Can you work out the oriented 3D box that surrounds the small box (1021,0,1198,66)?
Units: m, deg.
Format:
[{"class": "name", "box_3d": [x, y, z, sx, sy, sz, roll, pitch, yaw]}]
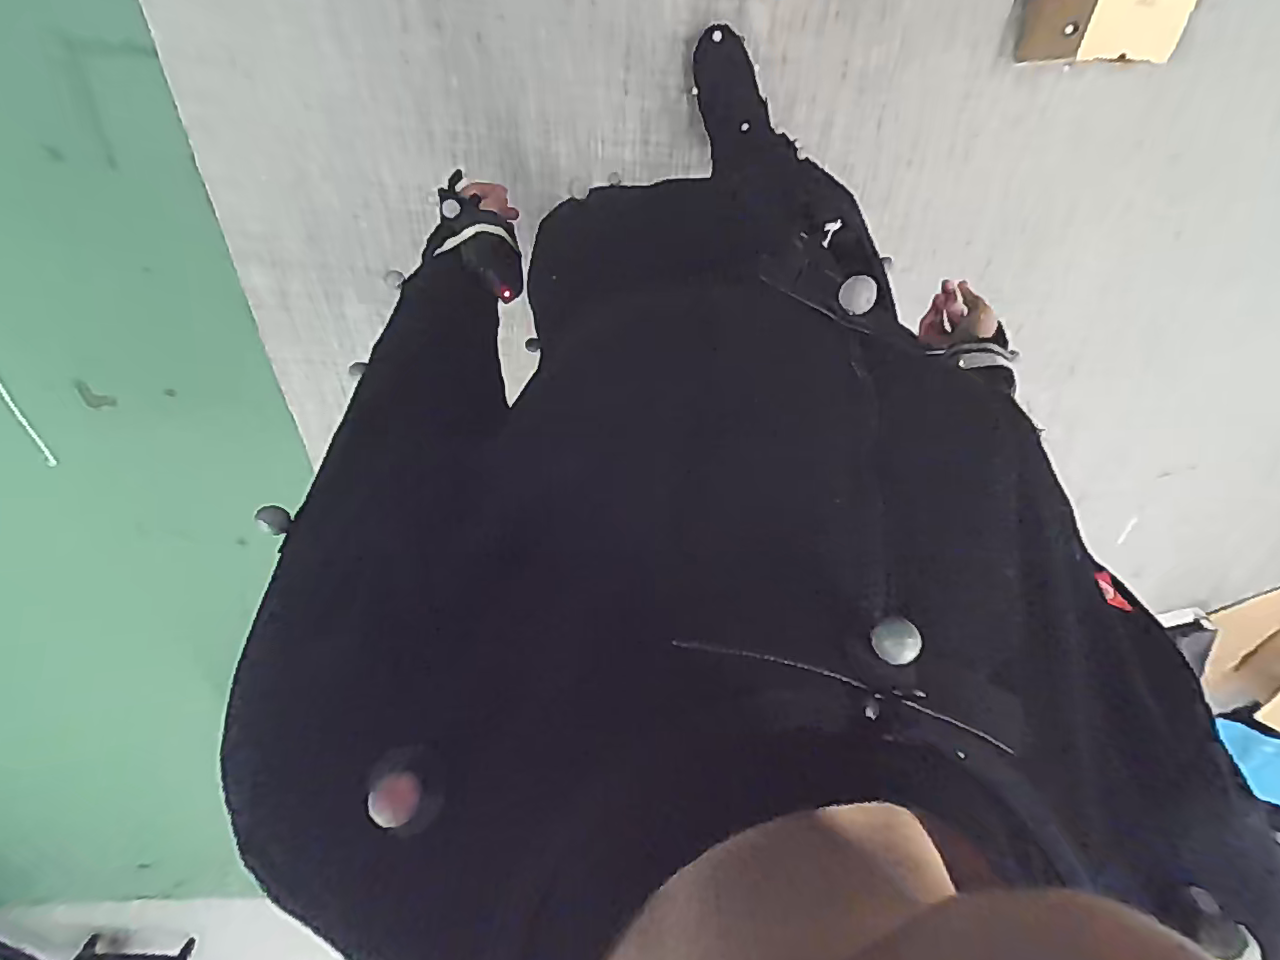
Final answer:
[{"class": "small box", "box_3d": [0.792, -0.810, 0.906, 0.168, 0.176, 0.179, -1, 127, -4]}]
